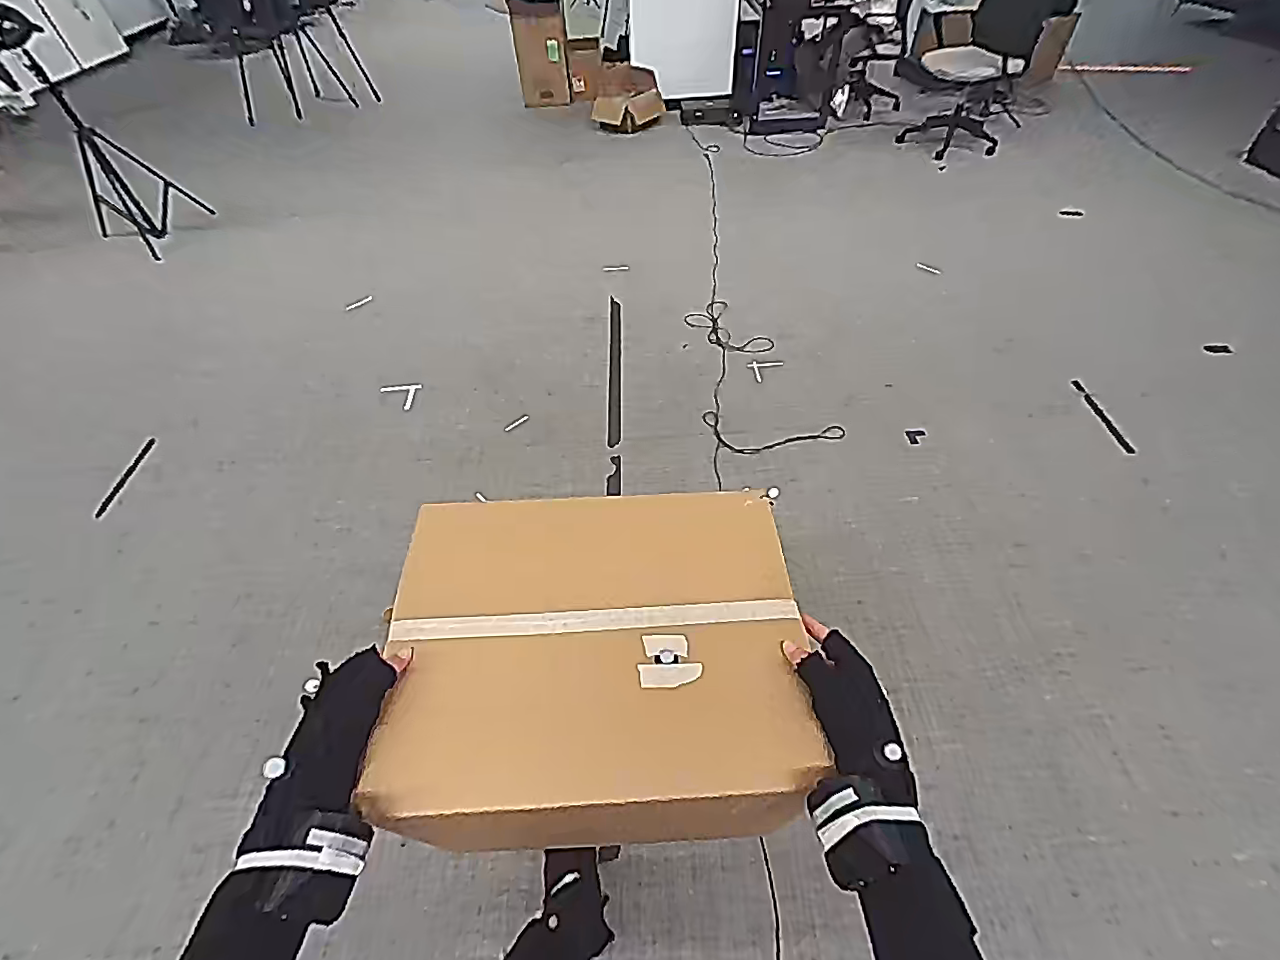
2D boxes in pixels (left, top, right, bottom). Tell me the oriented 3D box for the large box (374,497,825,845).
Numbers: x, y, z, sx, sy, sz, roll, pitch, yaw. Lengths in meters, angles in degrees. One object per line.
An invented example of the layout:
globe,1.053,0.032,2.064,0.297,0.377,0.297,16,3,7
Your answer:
large box,-0.044,0.242,0.676,0.408,0.320,0.320,-2,52,-3
